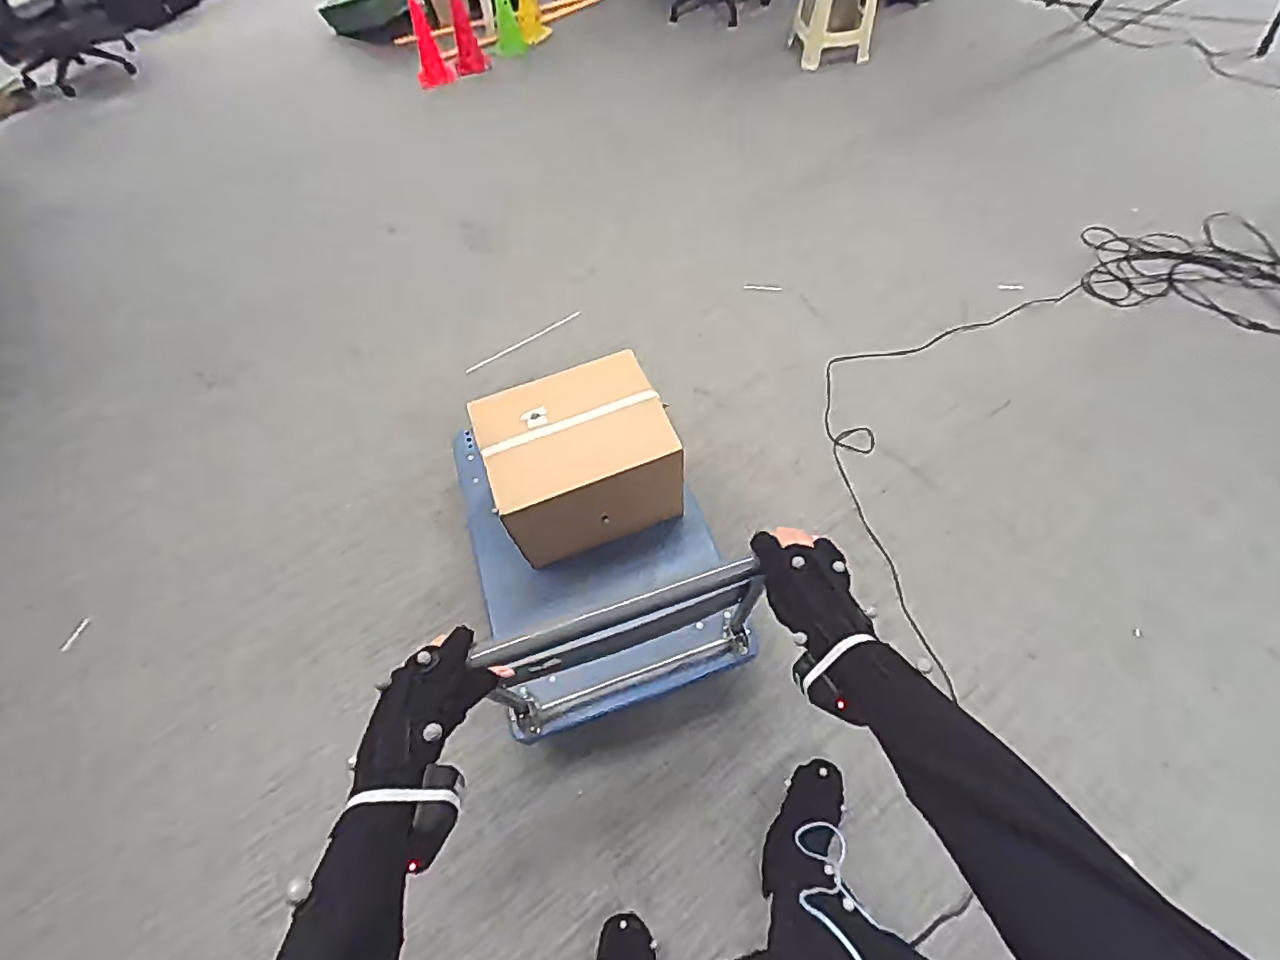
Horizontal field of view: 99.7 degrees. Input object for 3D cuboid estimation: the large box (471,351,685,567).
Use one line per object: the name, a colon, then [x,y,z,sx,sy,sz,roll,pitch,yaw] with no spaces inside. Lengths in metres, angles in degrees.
large box: [-0.135,-0.042,1.314,0.408,0.320,0.320,-21,60,-6]
